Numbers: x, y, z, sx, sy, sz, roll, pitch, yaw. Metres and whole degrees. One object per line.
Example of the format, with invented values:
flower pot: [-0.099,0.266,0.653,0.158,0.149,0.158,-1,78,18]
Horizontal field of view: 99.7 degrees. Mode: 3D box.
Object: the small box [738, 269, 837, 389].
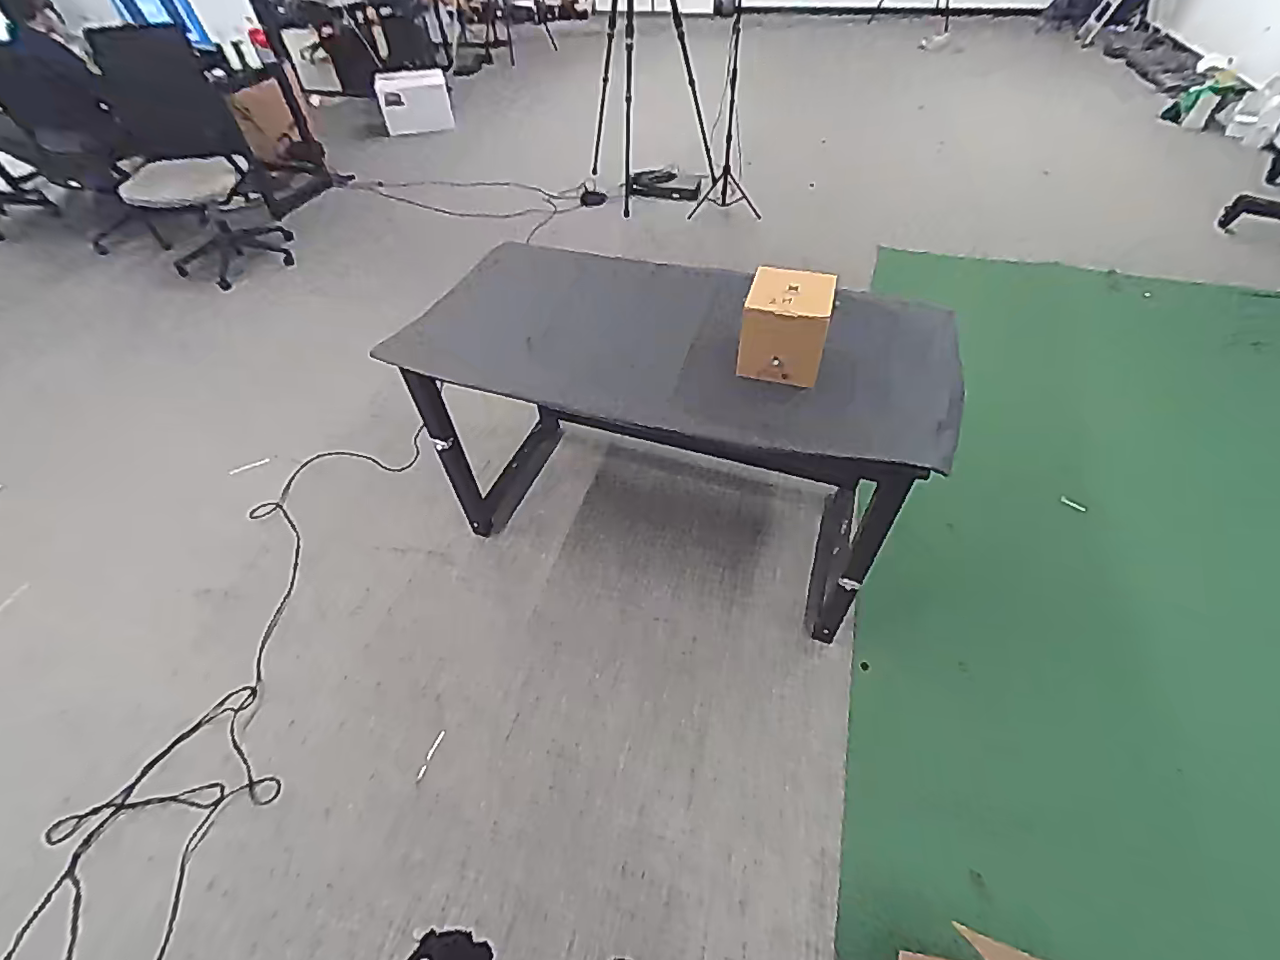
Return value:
small box: [0.311,-0.323,1.153,0.168,0.176,0.179,12,50,14]
